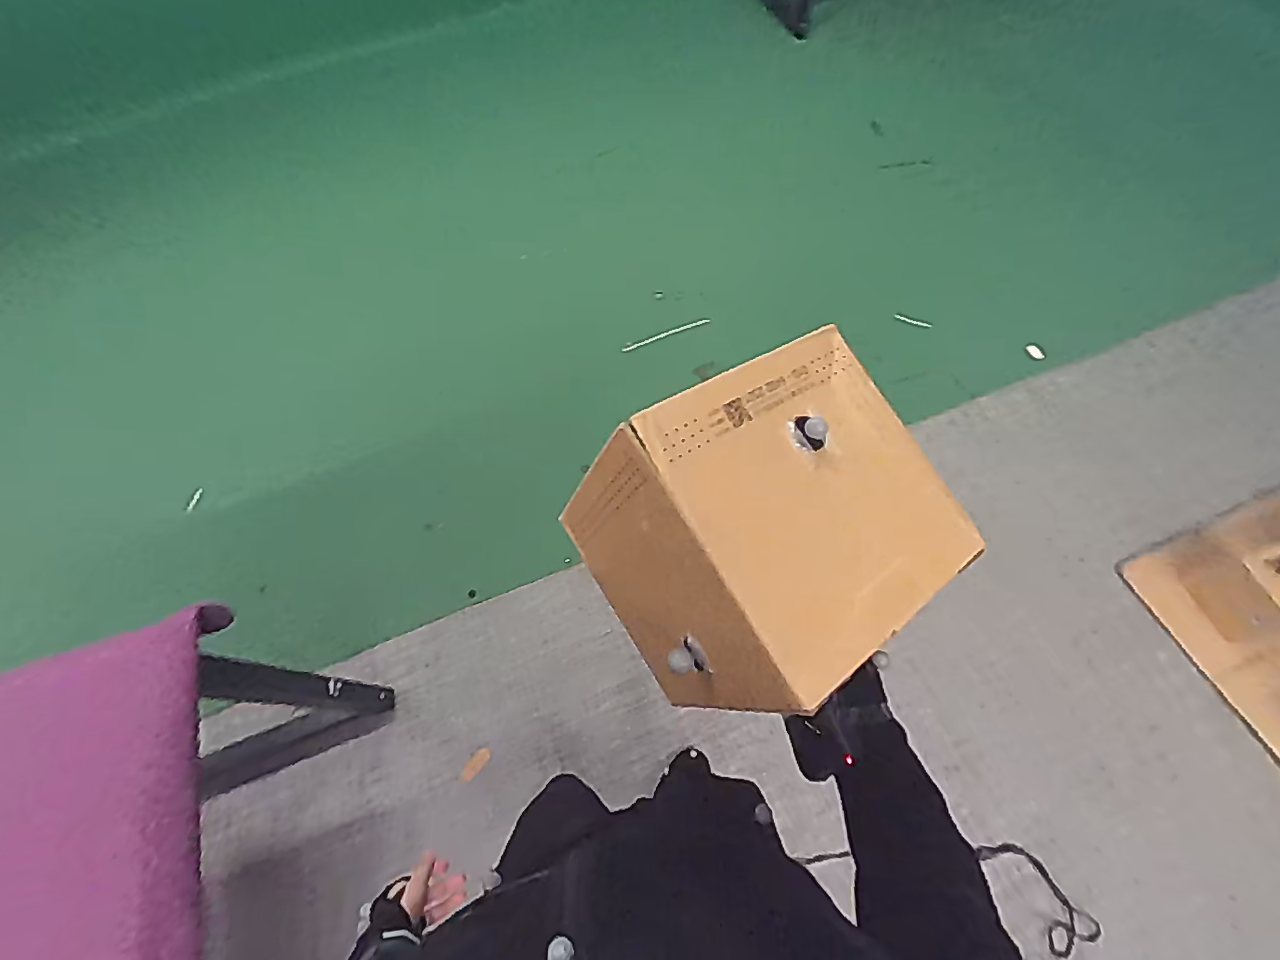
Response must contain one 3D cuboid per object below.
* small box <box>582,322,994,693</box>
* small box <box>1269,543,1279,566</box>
[{"bbox_3d":[0.079,0.023,0.370,0.168,0.179,0.176,-26,81,-27],"label":"small box"},{"bbox_3d":[1.681,0.173,1.273,0.168,0.176,0.179,-35,68,-12],"label":"small box"}]
